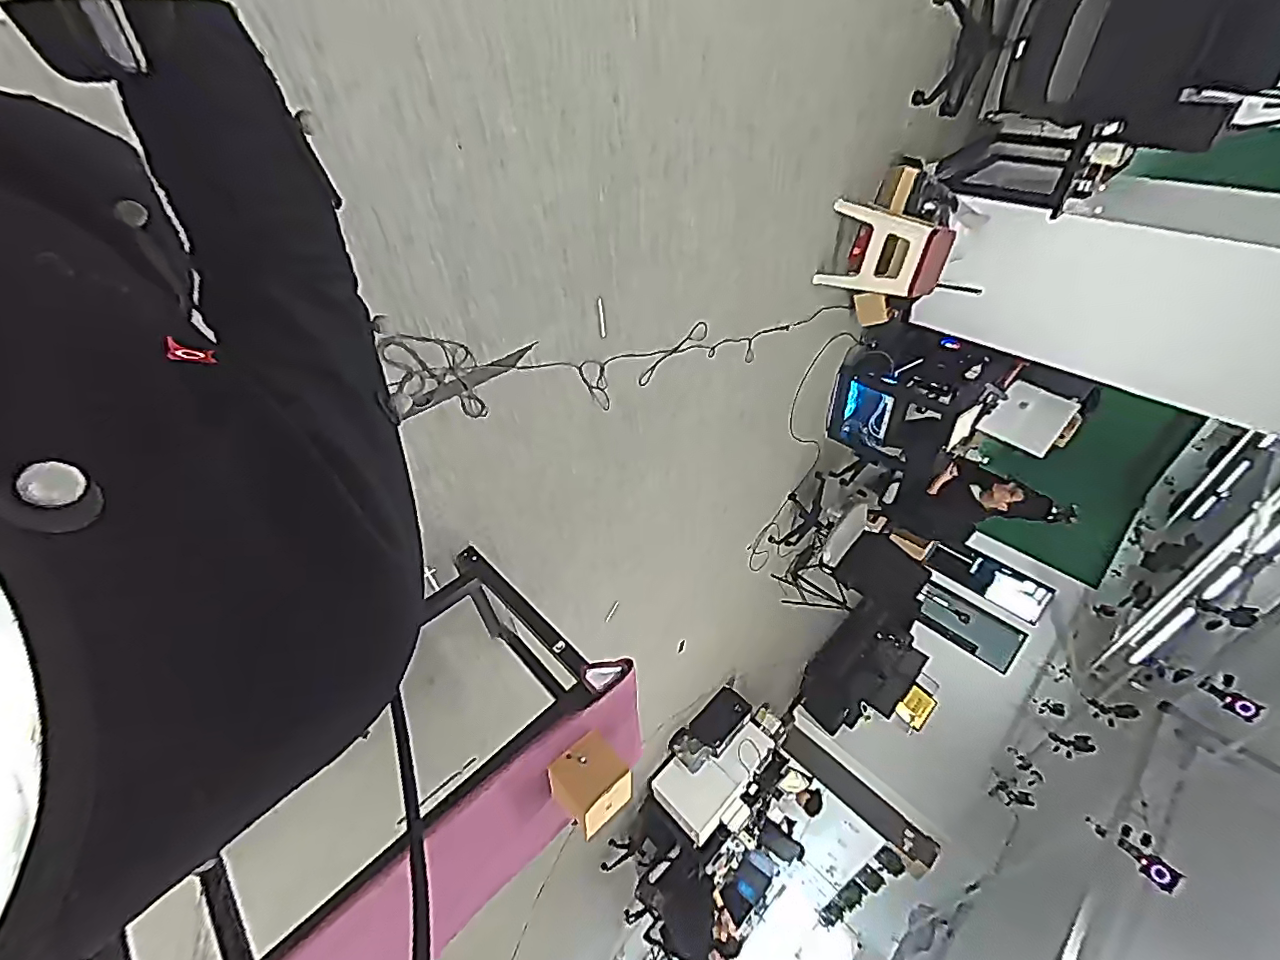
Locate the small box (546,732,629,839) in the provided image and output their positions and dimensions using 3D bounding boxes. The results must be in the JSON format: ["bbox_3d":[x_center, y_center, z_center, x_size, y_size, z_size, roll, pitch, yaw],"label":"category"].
[{"bbox_3d":[-0.149,0.859,1.535,0.168,0.176,0.179,-30,137,-35],"label":"small box"}]
